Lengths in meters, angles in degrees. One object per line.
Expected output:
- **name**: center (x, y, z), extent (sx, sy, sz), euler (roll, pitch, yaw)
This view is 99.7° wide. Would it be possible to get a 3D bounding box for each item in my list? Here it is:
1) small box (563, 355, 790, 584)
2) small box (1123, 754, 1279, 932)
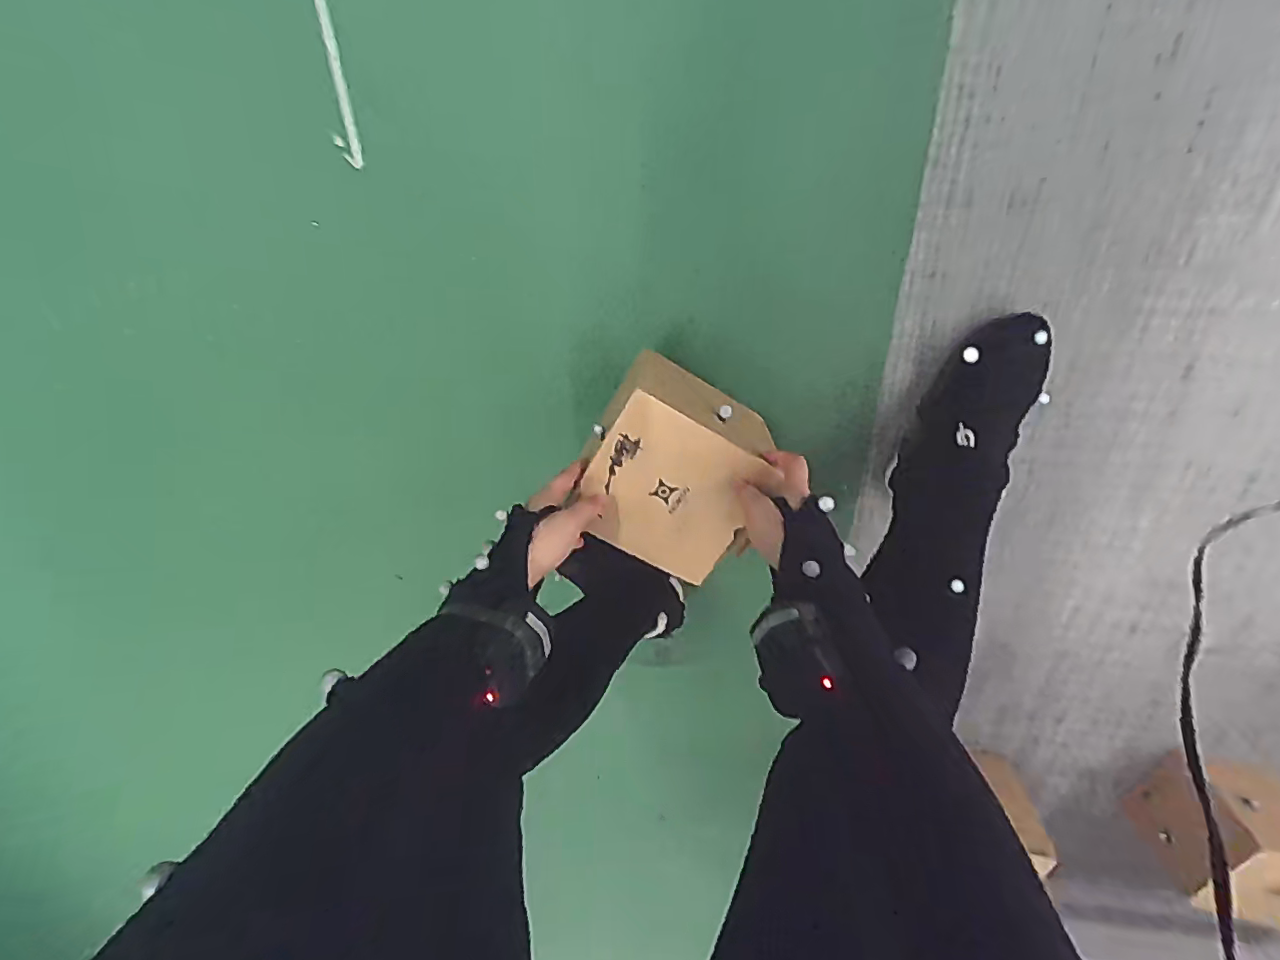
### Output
- **small box**: center (0.036, -0.021, 0.615), extent (0.179, 0.176, 0.168), euler (29, 112, -13)
- **small box**: center (0.951, 0.574, 0.867), extent (0.179, 0.176, 0.168), euler (14, 119, -1)
